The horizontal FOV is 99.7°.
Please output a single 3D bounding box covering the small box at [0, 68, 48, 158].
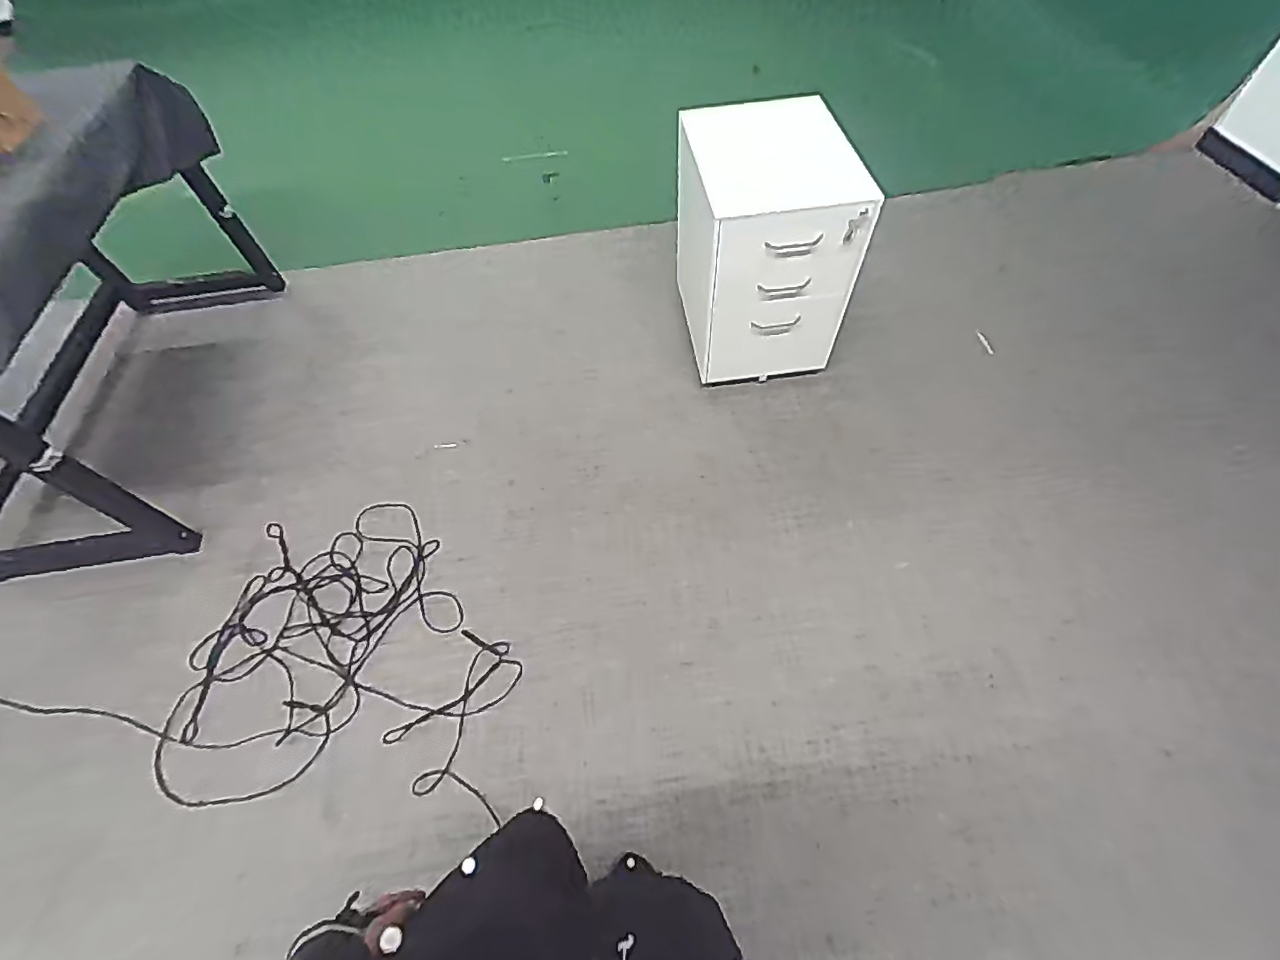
[{"bbox_3d":[-1.566,-0.862,1.248,0.179,0.176,0.168,-4,57,0],"label":"small box"}]
